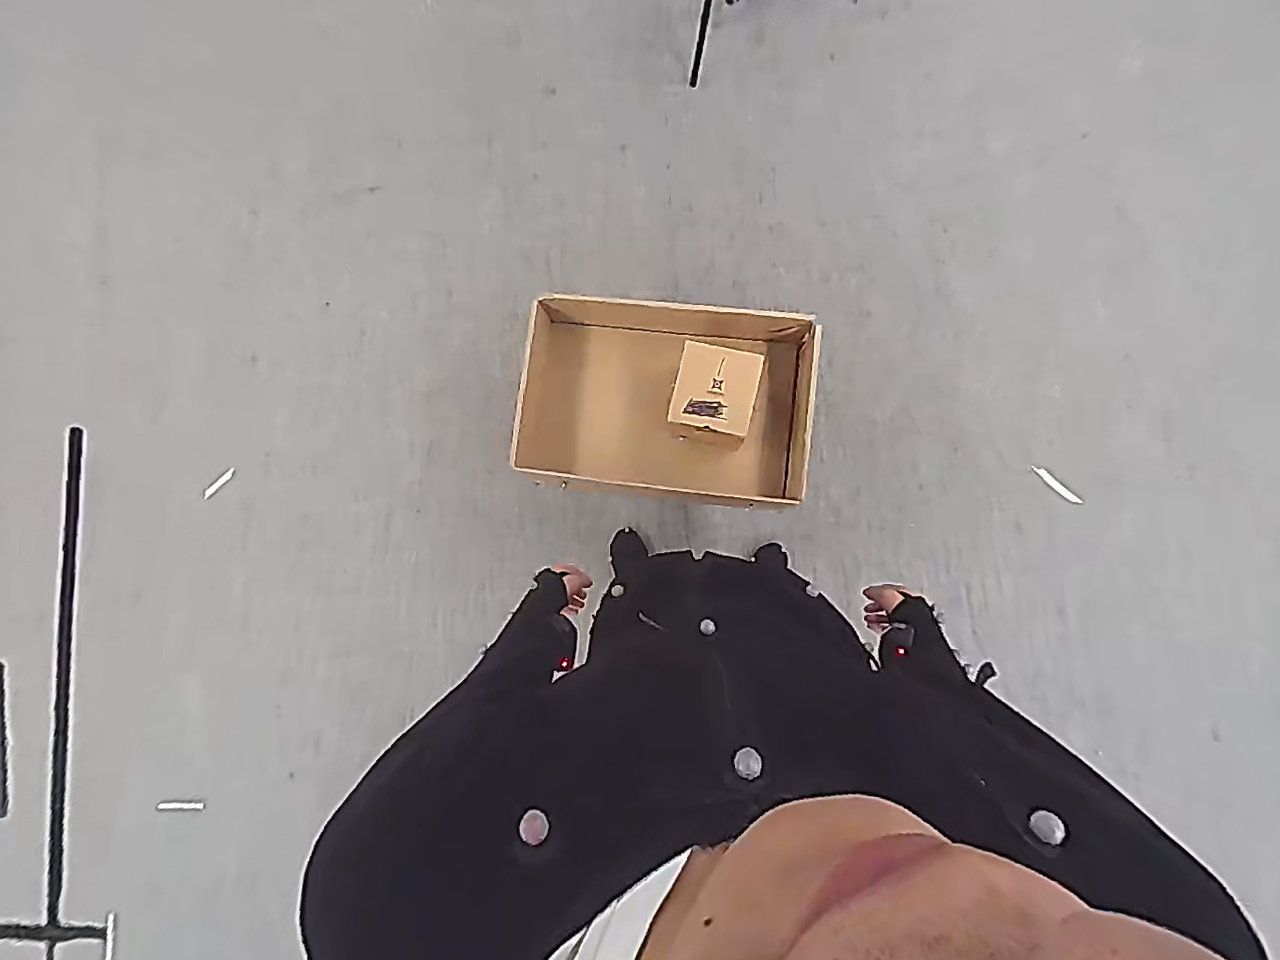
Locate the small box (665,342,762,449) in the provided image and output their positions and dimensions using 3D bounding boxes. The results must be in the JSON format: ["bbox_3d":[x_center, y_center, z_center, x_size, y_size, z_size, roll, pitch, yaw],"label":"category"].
[{"bbox_3d":[0.157,-0.174,1.174,0.168,0.176,0.179,13,85,6],"label":"small box"}]
